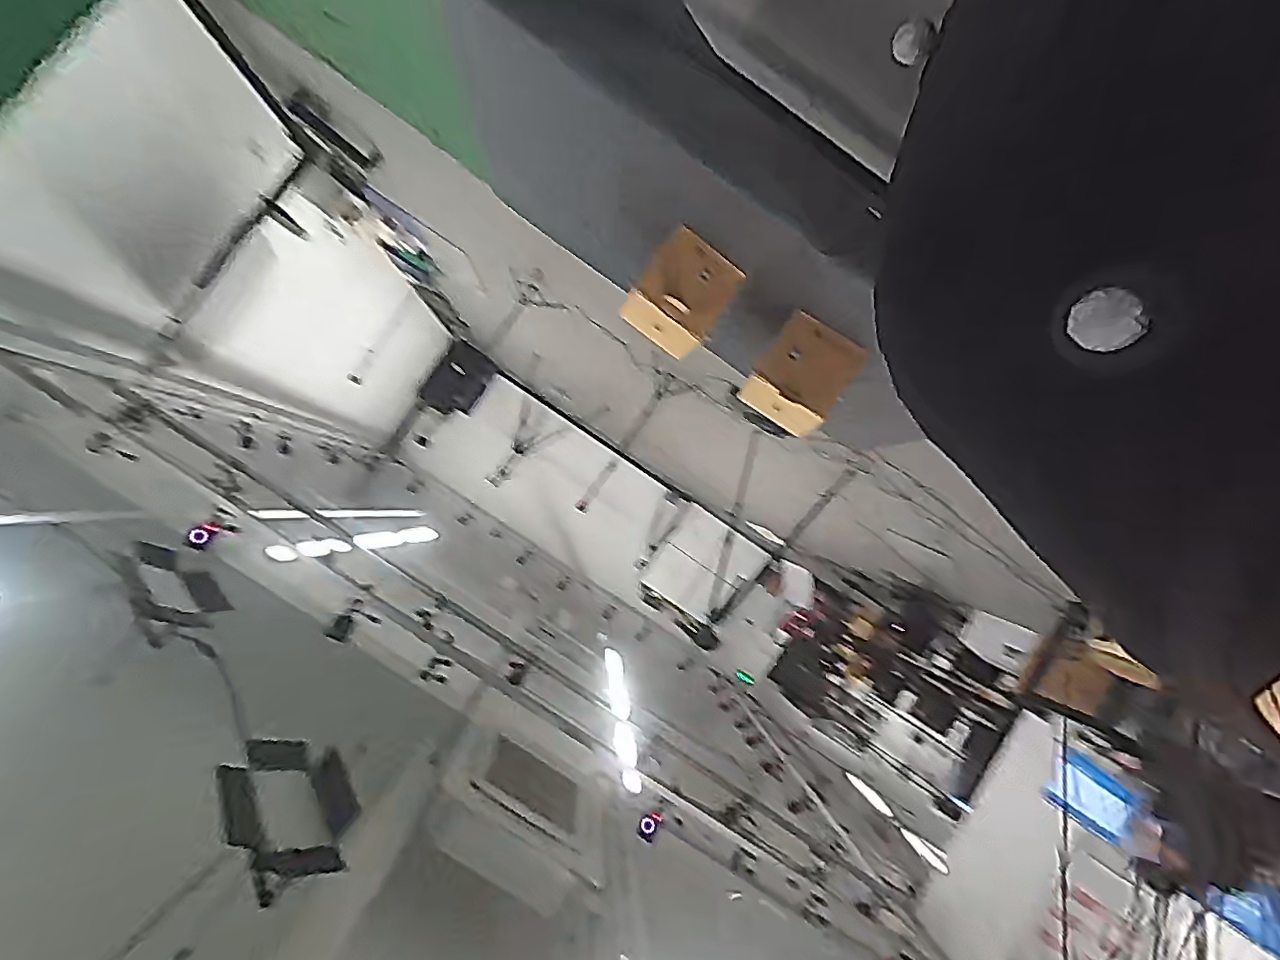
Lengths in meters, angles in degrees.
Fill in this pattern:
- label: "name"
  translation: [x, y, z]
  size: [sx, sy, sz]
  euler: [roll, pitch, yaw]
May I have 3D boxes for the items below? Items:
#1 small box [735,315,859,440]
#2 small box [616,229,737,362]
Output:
- label: "small box"
  translation: [0.322, -0.209, 1.120]
  size: [0.168, 0.176, 0.179]
  euler: [35, 175, 5]
- label: "small box"
  translation: [0.074, -0.377, 1.124]
  size: [0.168, 0.176, 0.179]
  euler: [36, 173, -9]
